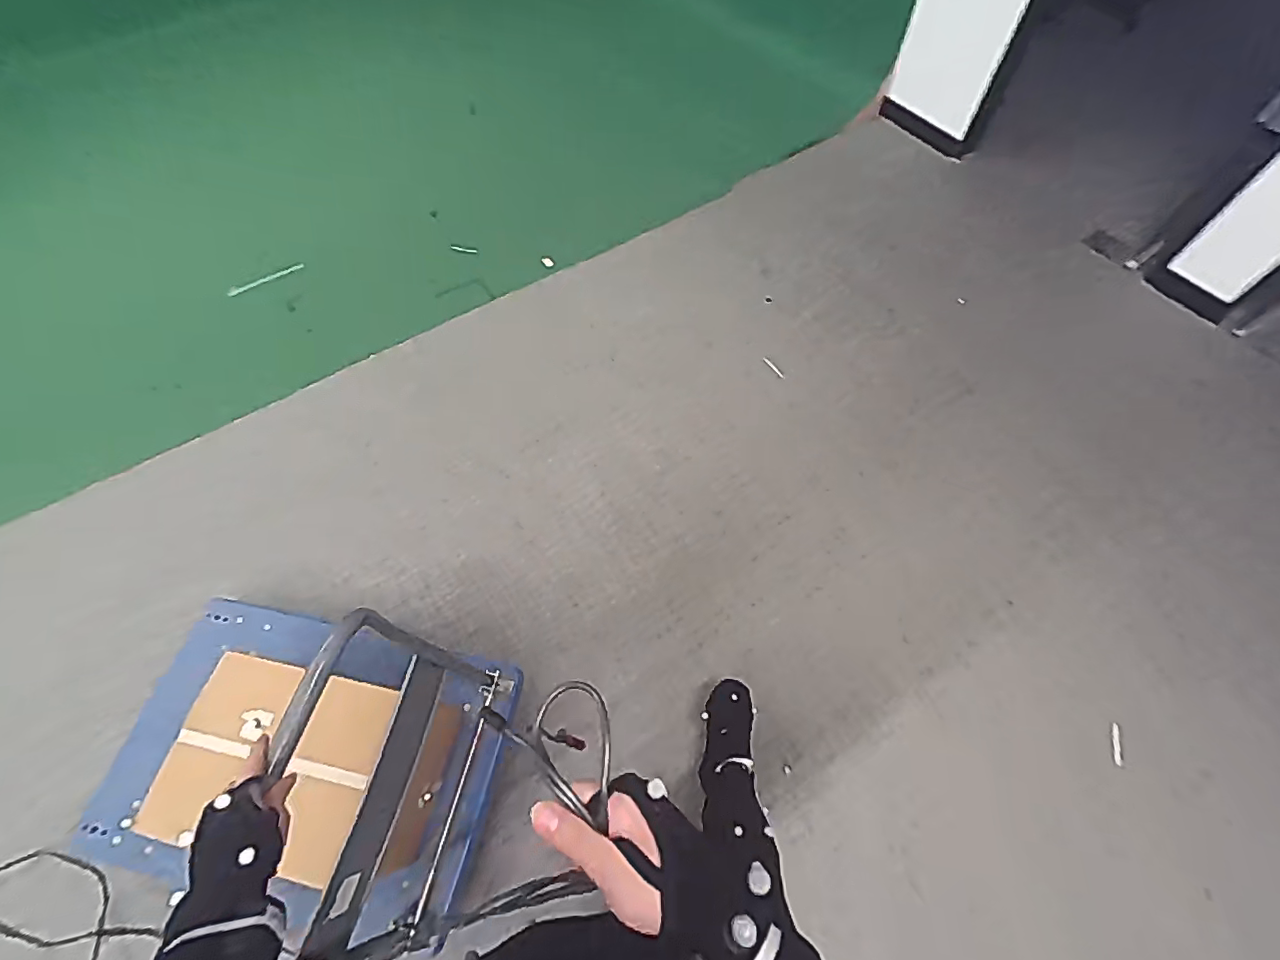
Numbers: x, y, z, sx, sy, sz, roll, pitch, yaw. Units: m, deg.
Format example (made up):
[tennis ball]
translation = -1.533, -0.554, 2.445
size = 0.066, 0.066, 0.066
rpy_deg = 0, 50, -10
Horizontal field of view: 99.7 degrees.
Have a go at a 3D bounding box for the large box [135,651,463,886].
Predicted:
[large box]
translation = -0.643, 0.569, 1.106
size = 0.408, 0.320, 0.320
rpy_deg = 10, 63, 9
